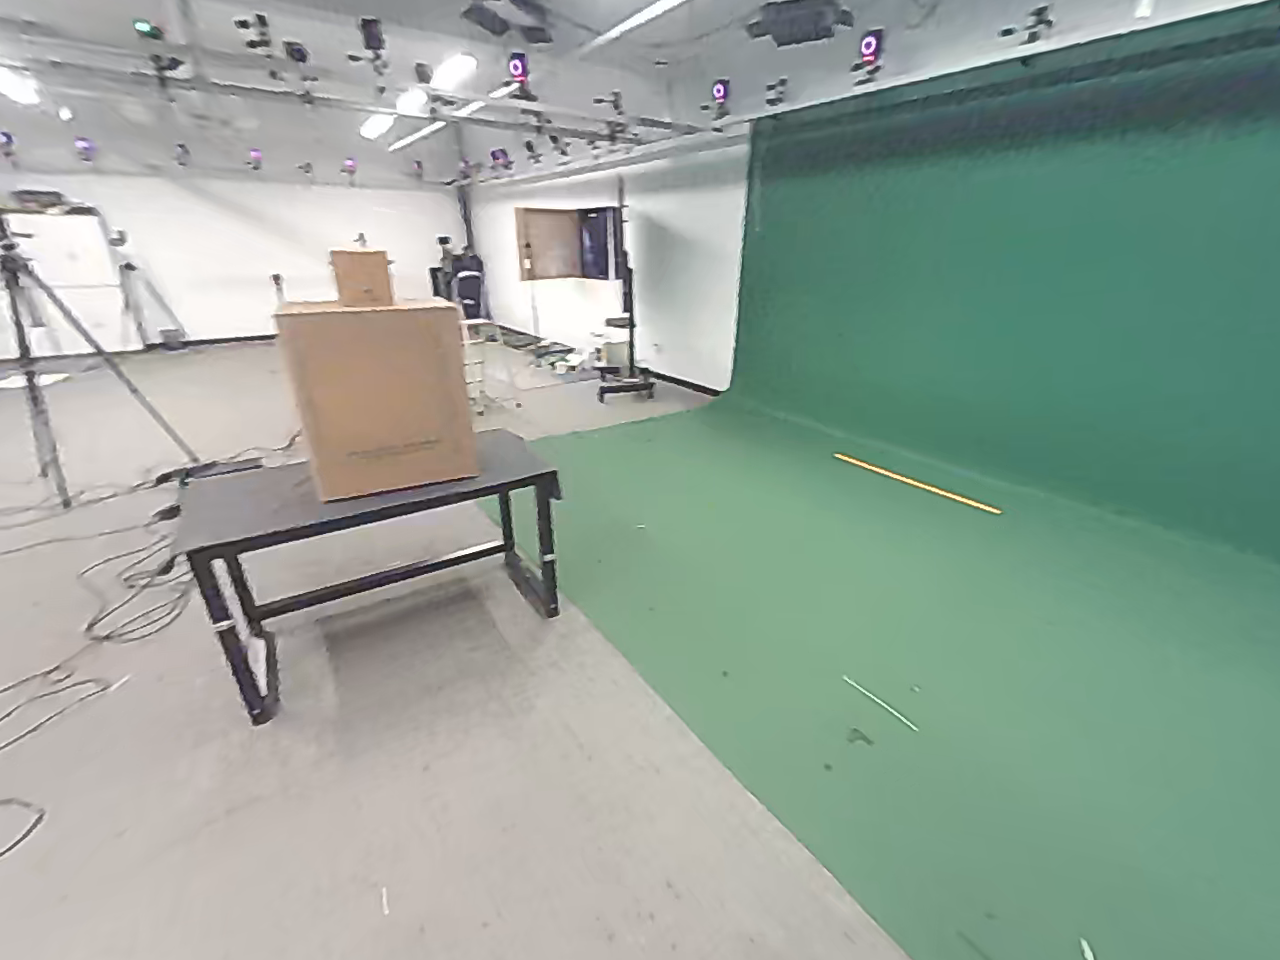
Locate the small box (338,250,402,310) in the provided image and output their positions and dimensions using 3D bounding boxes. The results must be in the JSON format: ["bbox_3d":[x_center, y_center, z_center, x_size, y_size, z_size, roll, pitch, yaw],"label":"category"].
[{"bbox_3d":[-0.886,-0.662,1.783,0.168,0.176,0.179,-9,28,-22],"label":"small box"}]
